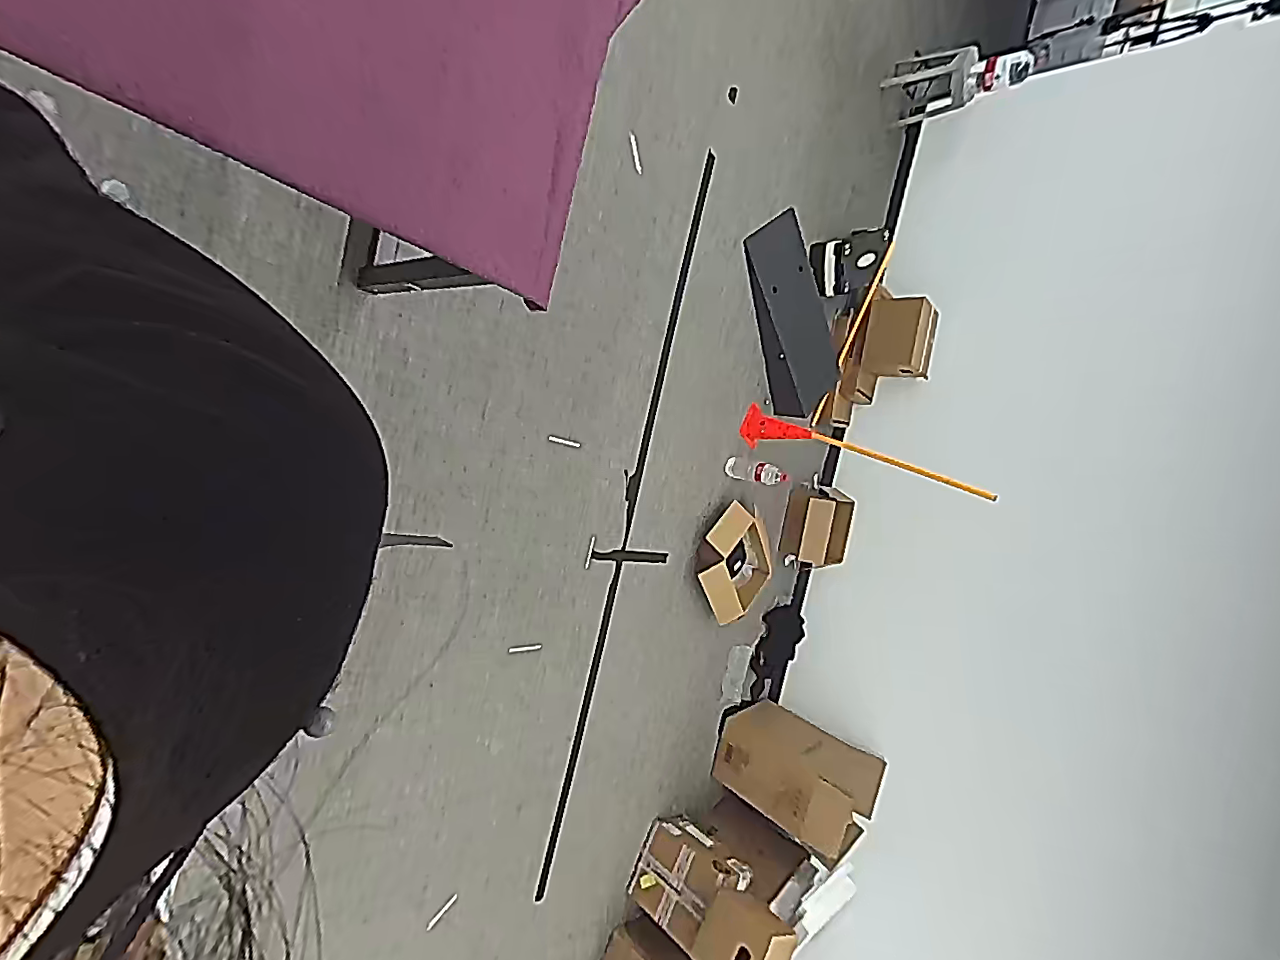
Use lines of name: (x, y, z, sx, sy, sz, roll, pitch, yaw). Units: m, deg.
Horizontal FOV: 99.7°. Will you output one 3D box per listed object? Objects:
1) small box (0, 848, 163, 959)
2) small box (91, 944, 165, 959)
small box: (-0.730, 0.616, 0.672, 0.168, 0.176, 0.179, 13, 93, -50)
small box: (-0.611, 0.647, 0.566, 0.168, 0.176, 0.179, 11, 93, -49)
